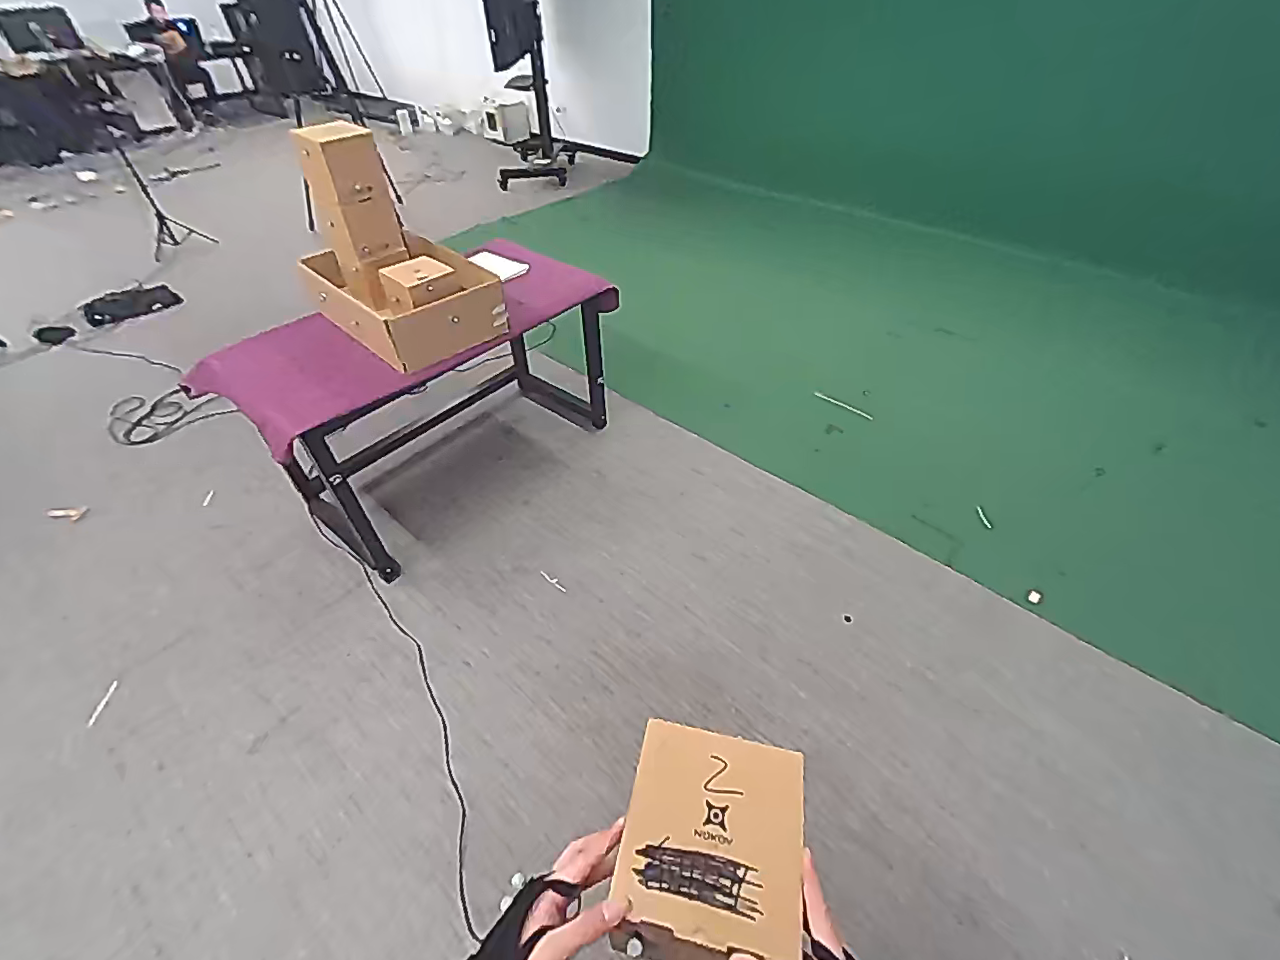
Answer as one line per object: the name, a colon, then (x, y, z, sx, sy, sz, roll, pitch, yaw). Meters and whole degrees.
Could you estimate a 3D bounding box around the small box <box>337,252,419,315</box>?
small box: (-0.886, -0.686, 1.841, 0.179, 0.176, 0.168, 32, 52, 27)

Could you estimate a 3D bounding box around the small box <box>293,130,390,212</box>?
small box: (-0.886, -0.923, 1.616, 0.179, 0.176, 0.168, 32, 52, 26)

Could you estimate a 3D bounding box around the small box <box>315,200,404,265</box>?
small box: (-0.890, -0.806, 1.729, 0.179, 0.176, 0.168, 31, 51, 27)
